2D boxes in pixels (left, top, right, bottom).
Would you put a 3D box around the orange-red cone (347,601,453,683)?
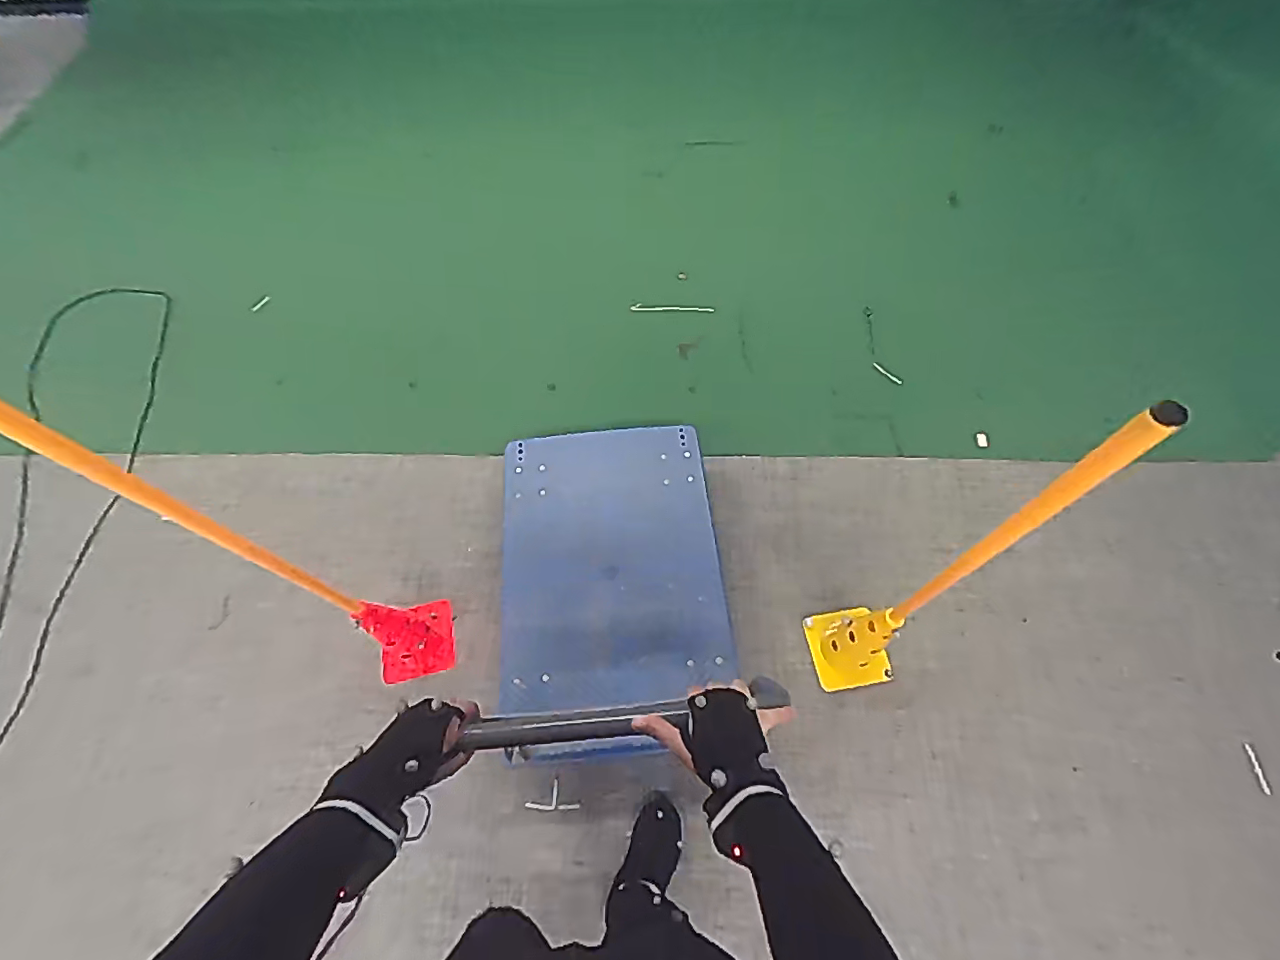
[{"bbox_3d":[-0.626,0.369,1.350,0.199,0.360,0.198,-13,63,-4],"label":"orange-red cone"}]
